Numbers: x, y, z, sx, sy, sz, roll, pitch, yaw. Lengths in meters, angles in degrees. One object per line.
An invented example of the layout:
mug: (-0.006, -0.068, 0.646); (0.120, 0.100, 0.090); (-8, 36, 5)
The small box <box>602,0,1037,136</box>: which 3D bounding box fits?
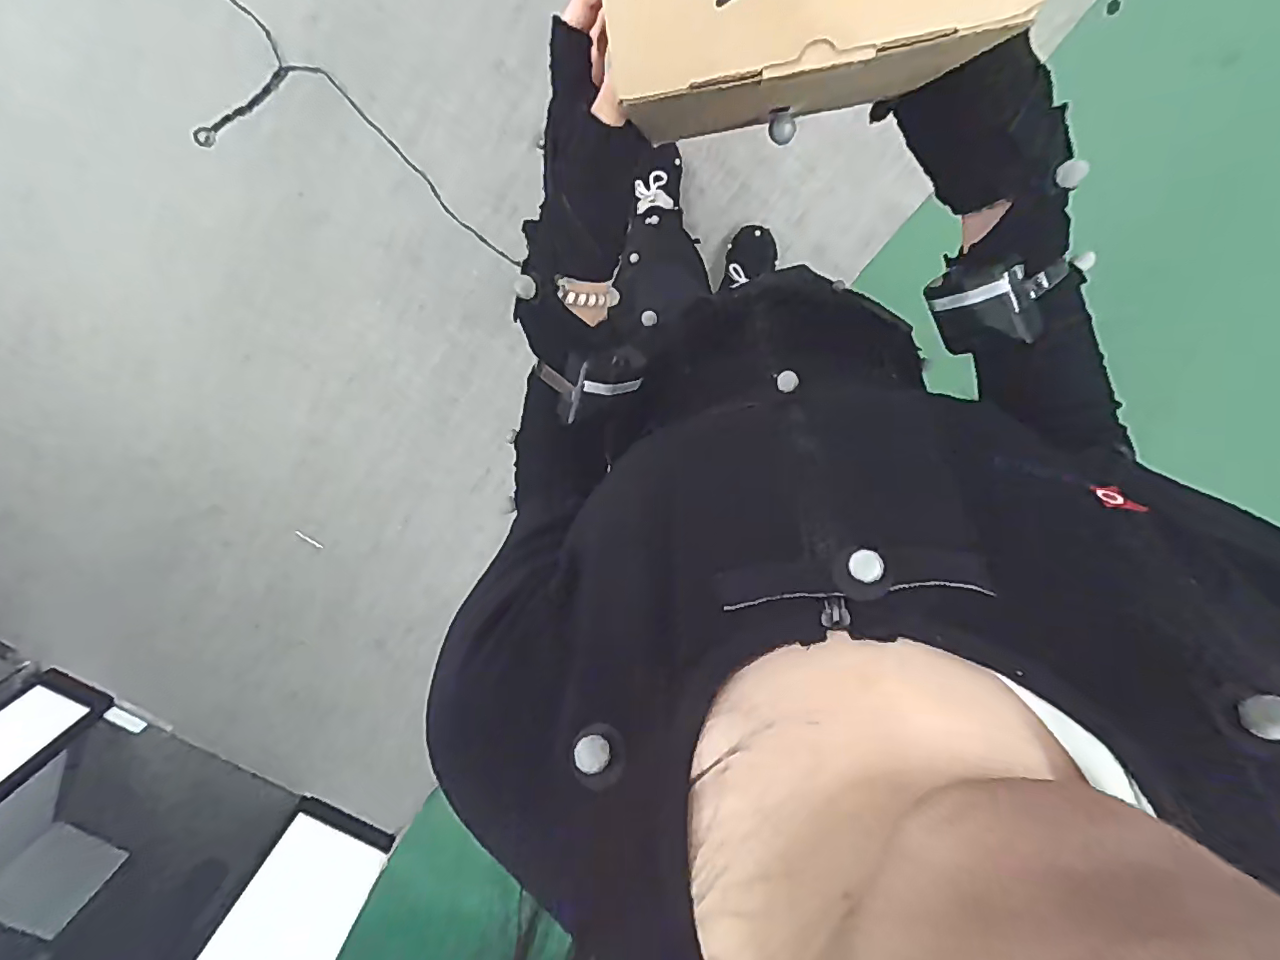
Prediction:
small box: (0.065, -0.282, 0.250); (0.168, 0.176, 0.179); (-5, 117, 10)
